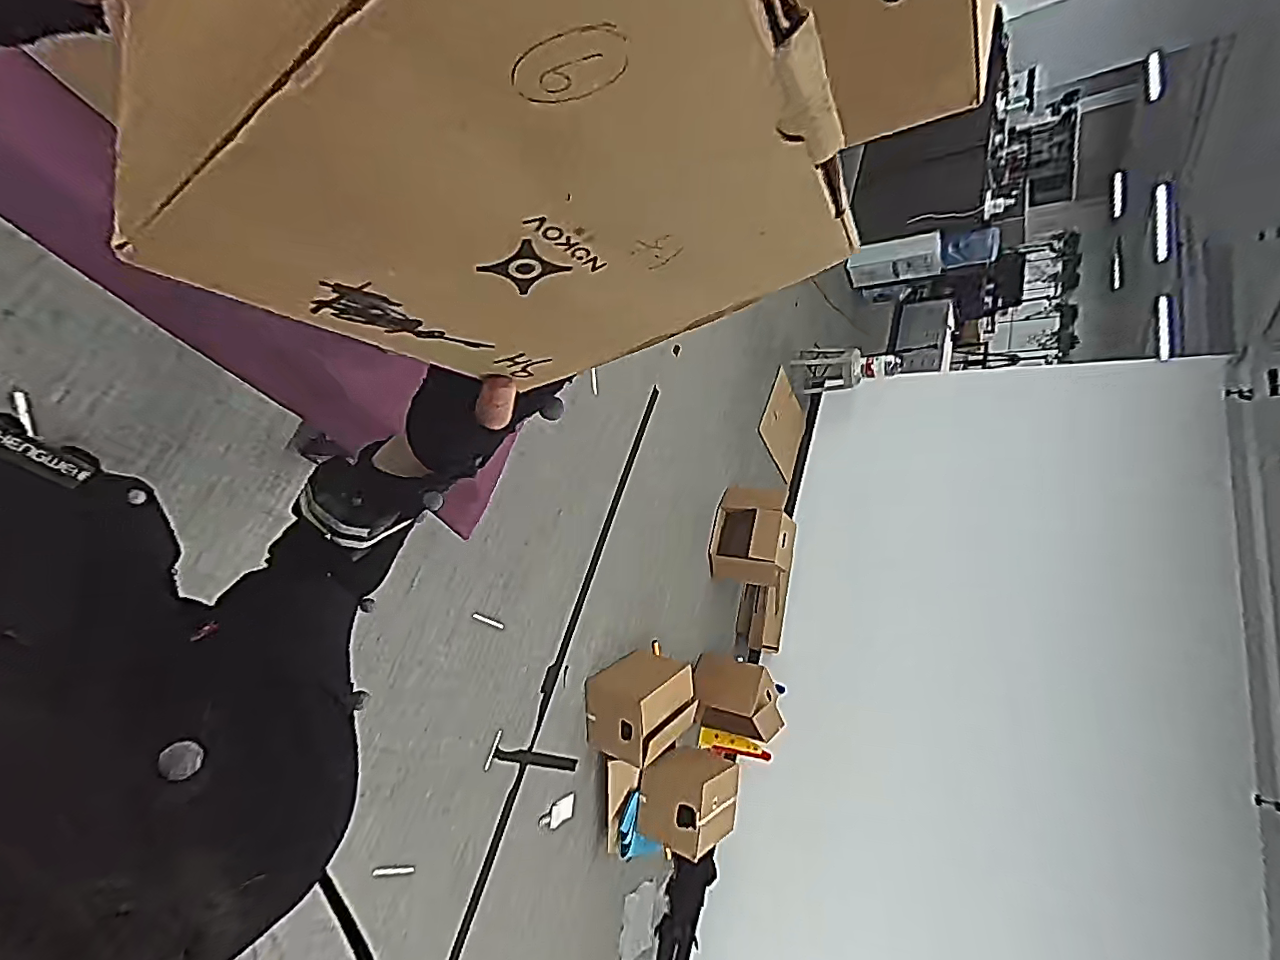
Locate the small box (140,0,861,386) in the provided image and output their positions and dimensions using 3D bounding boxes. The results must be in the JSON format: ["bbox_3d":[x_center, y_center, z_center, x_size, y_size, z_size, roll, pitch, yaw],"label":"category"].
[{"bbox_3d":[-0.040,-0.156,0.193,0.168,0.179,0.176,11,67,-60],"label":"small box"}]

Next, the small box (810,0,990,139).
[{"bbox_3d":[0.159,-0.384,0.406,0.179,0.176,0.168,43,59,-48],"label":"small box"}]
